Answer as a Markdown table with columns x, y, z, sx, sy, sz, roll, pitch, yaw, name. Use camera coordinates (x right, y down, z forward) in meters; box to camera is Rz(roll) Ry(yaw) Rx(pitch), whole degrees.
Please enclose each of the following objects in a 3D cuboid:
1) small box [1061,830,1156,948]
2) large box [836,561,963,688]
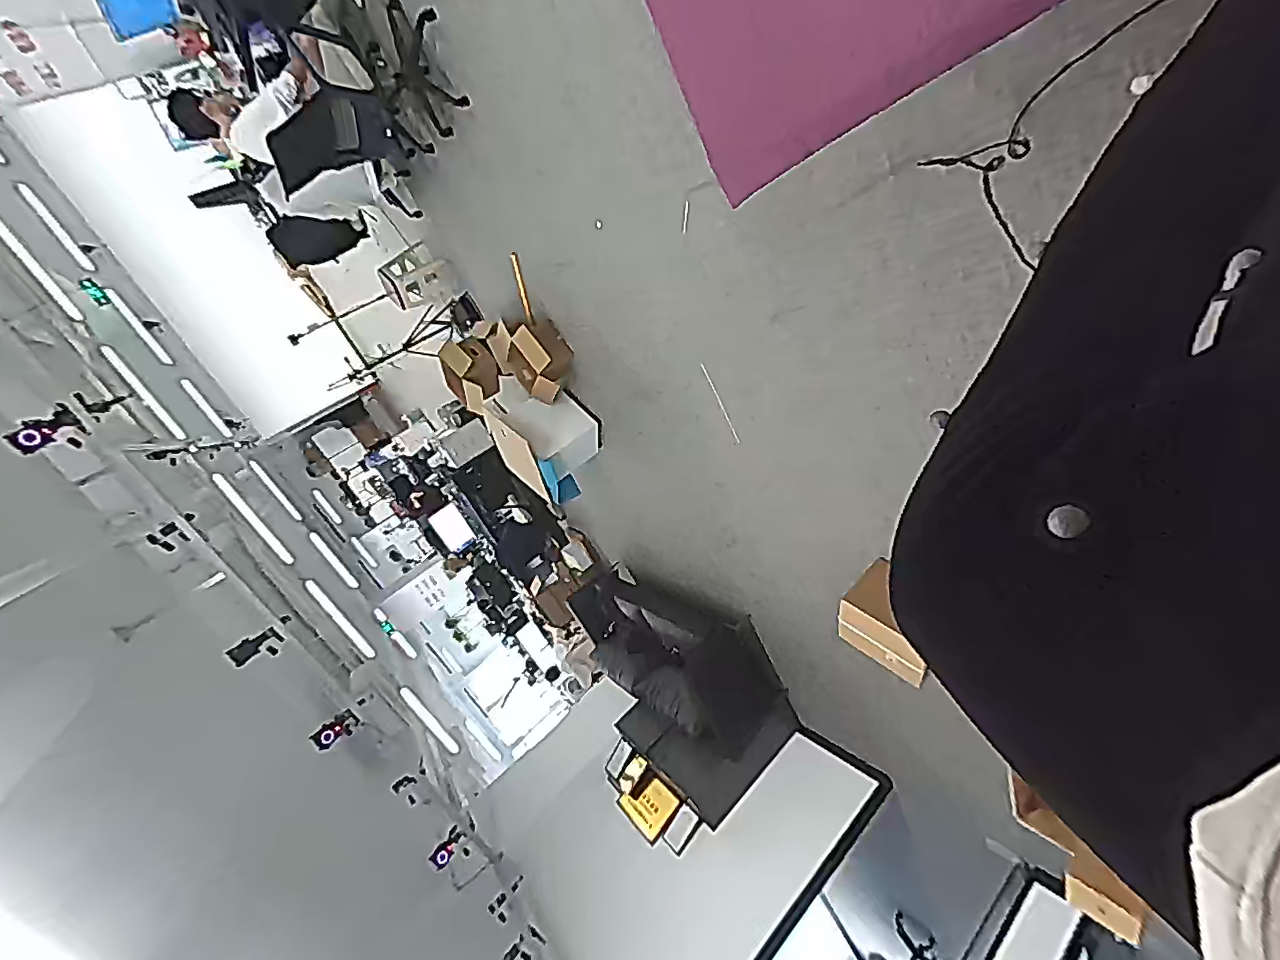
| x | y | z | sx | sy | sz | roll | pitch | yaw | name |
| --- | --- | --- | --- | --- | --- | --- | --- | --- | --- |
| 1.331 | 1.156 | 1.538 | 0.168 | 0.176 | 0.179 | 17 | 138 | 52 | small box |
| 1.151 | 0.636 | 2.434 | 0.408 | 0.320 | 0.320 | 31 | 149 | 39 | large box |
